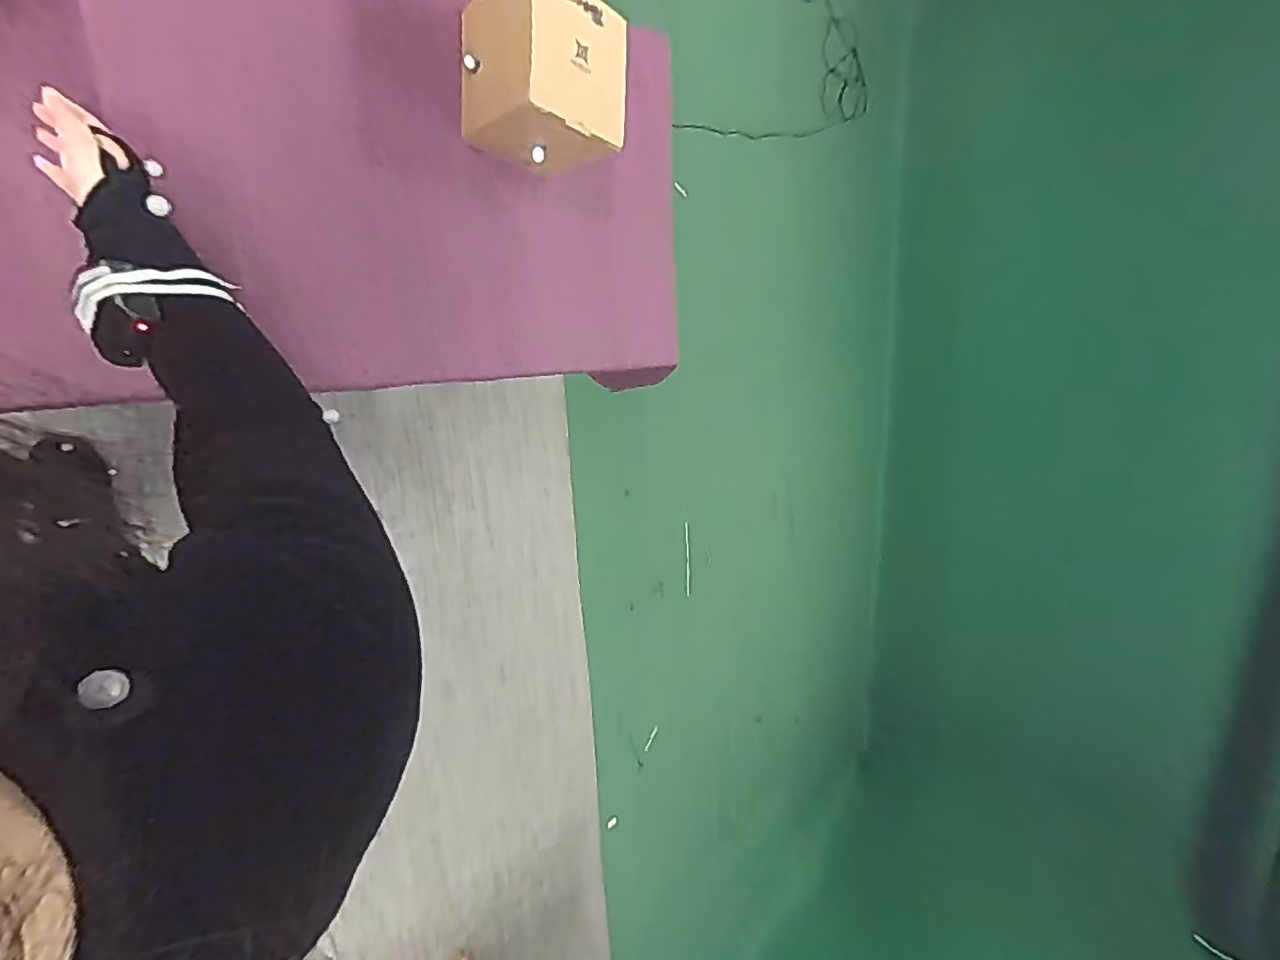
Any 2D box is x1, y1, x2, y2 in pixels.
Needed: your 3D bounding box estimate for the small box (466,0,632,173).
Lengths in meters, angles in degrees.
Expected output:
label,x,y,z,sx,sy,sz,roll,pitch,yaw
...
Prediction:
label,x,y,z,sx,sy,sz,roll,pitch,yaw
small box,-0.132,-0.566,0.767,0.168,0.176,0.179,-6,102,-47
